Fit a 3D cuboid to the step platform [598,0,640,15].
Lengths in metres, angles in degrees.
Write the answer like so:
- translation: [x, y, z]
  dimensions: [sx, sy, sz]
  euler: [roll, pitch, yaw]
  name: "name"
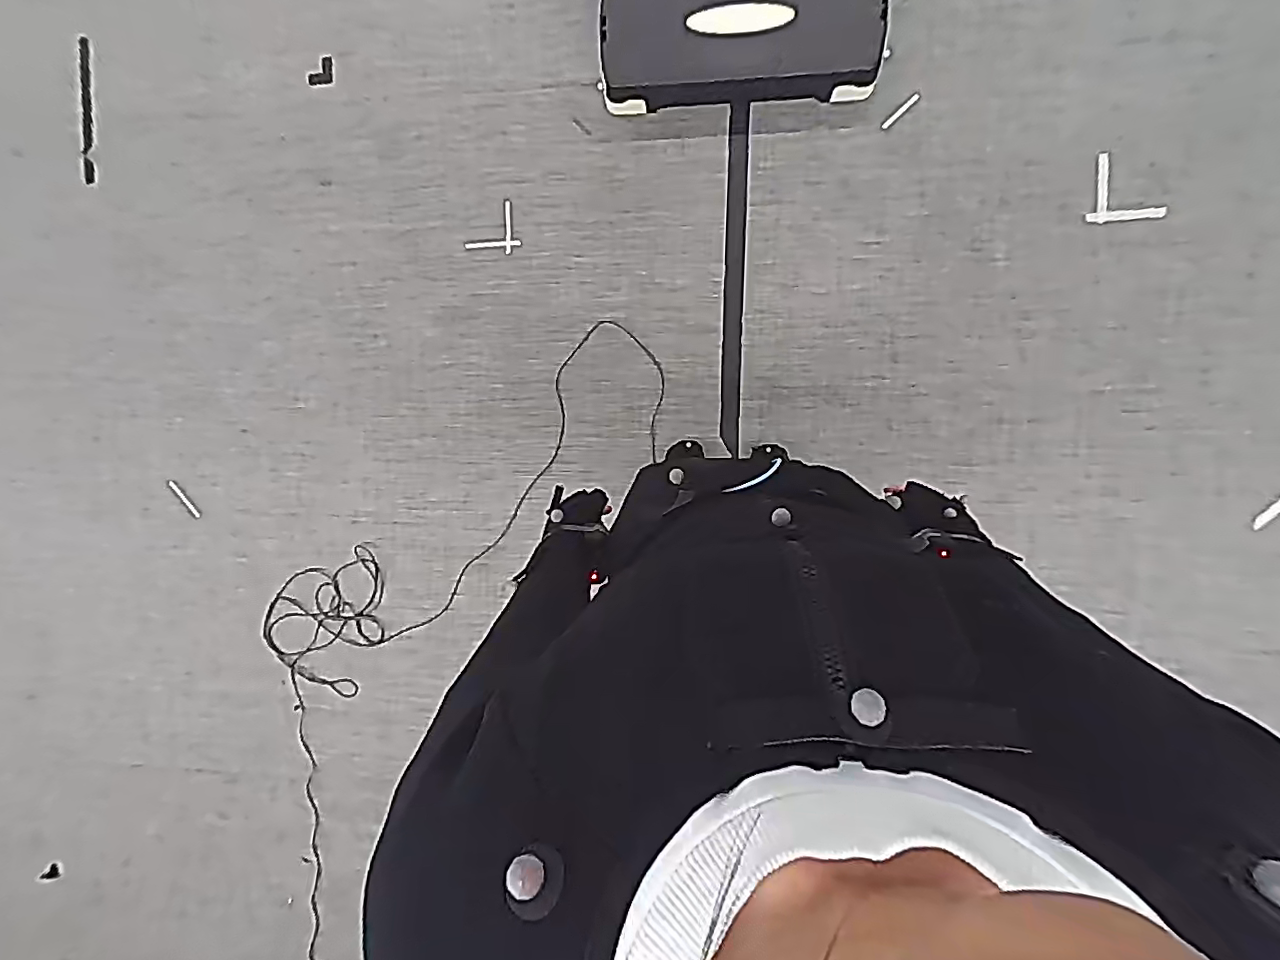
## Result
- translation: [0.209, -1.324, 1.249]
  dimensions: [0.684, 0.204, 0.286]
  euler: [-1, 95, 5]
  name: "step platform"
